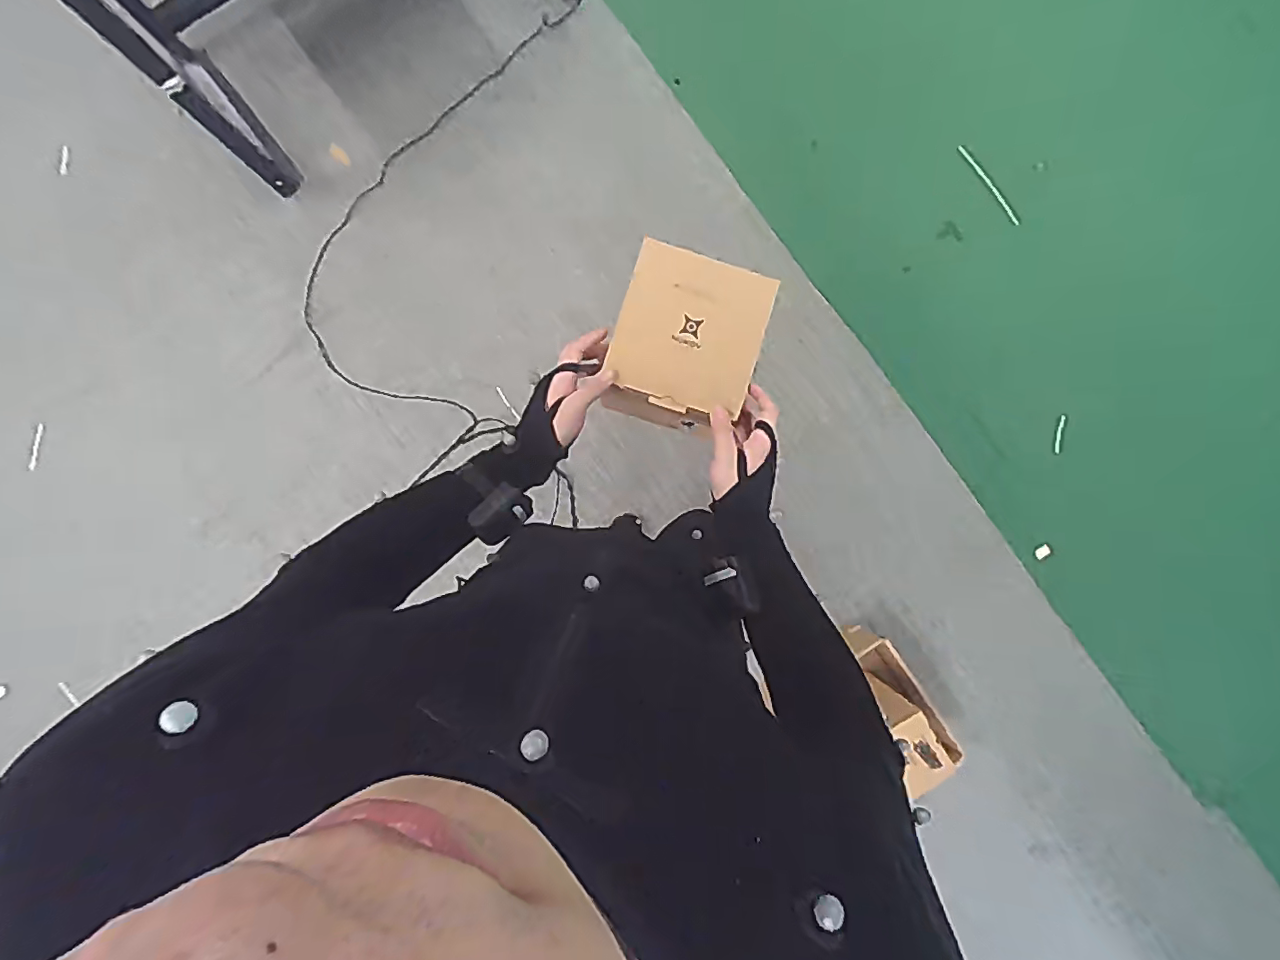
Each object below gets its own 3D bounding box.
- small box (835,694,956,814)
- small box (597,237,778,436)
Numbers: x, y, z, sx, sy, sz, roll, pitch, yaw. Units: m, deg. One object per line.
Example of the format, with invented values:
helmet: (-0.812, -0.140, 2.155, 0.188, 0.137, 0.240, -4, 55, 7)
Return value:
small box: (0.614, 0.658, 1.322, 0.179, 0.176, 0.168, -30, 88, -2)
small box: (0.052, -0.164, 0.684, 0.168, 0.176, 0.179, 18, 86, -2)
